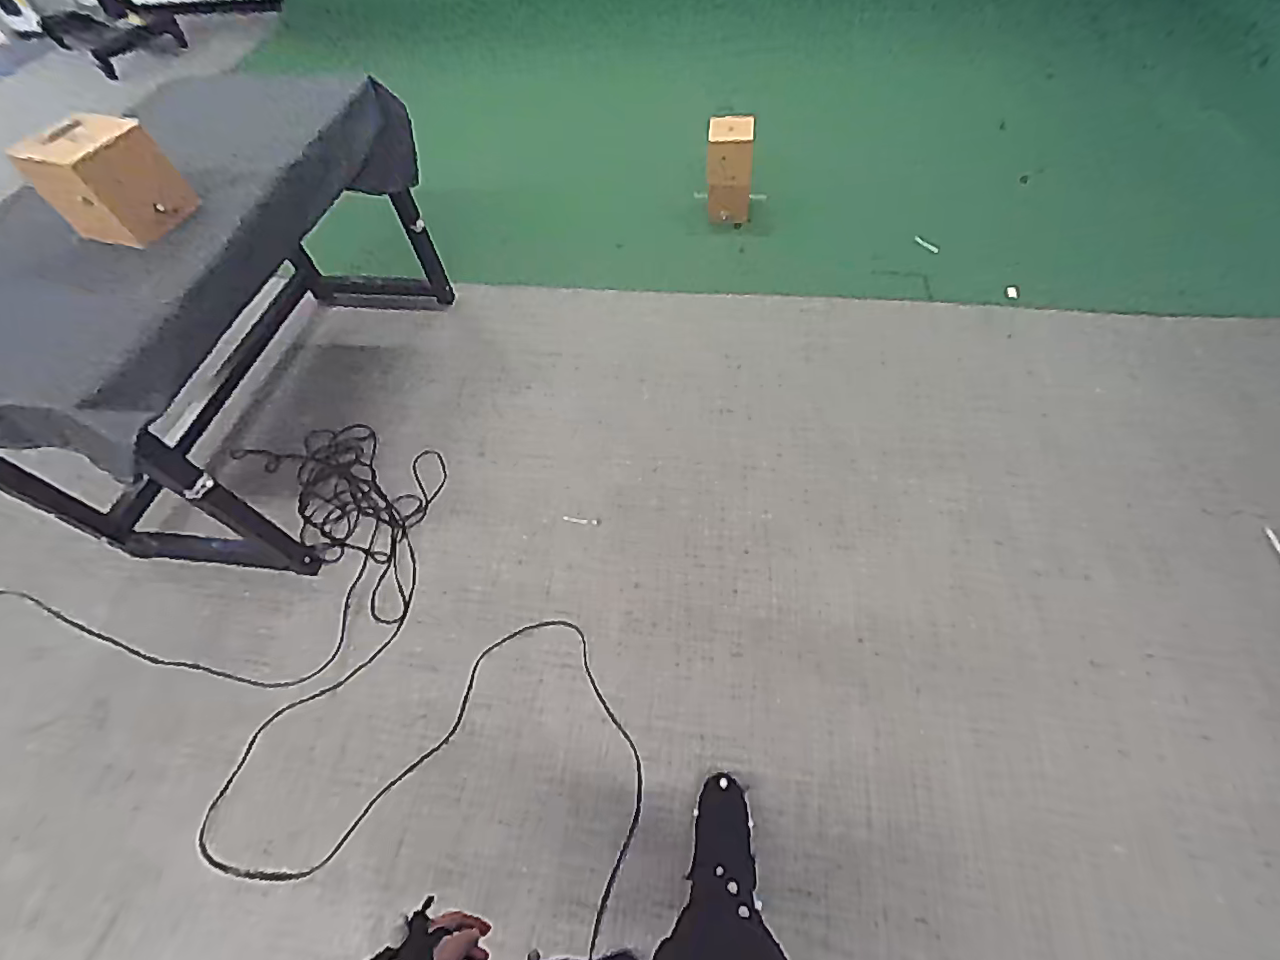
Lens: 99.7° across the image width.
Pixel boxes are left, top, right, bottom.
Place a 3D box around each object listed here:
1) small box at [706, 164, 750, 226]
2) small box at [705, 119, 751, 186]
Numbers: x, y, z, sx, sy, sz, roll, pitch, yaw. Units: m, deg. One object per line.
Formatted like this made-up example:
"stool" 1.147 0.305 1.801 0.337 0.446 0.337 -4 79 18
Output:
"small box" 0.359 -1.171 2.219 0.168 0.176 0.179 4 58 8
"small box" 0.338 -1.257 2.082 0.168 0.176 0.179 3 57 7
